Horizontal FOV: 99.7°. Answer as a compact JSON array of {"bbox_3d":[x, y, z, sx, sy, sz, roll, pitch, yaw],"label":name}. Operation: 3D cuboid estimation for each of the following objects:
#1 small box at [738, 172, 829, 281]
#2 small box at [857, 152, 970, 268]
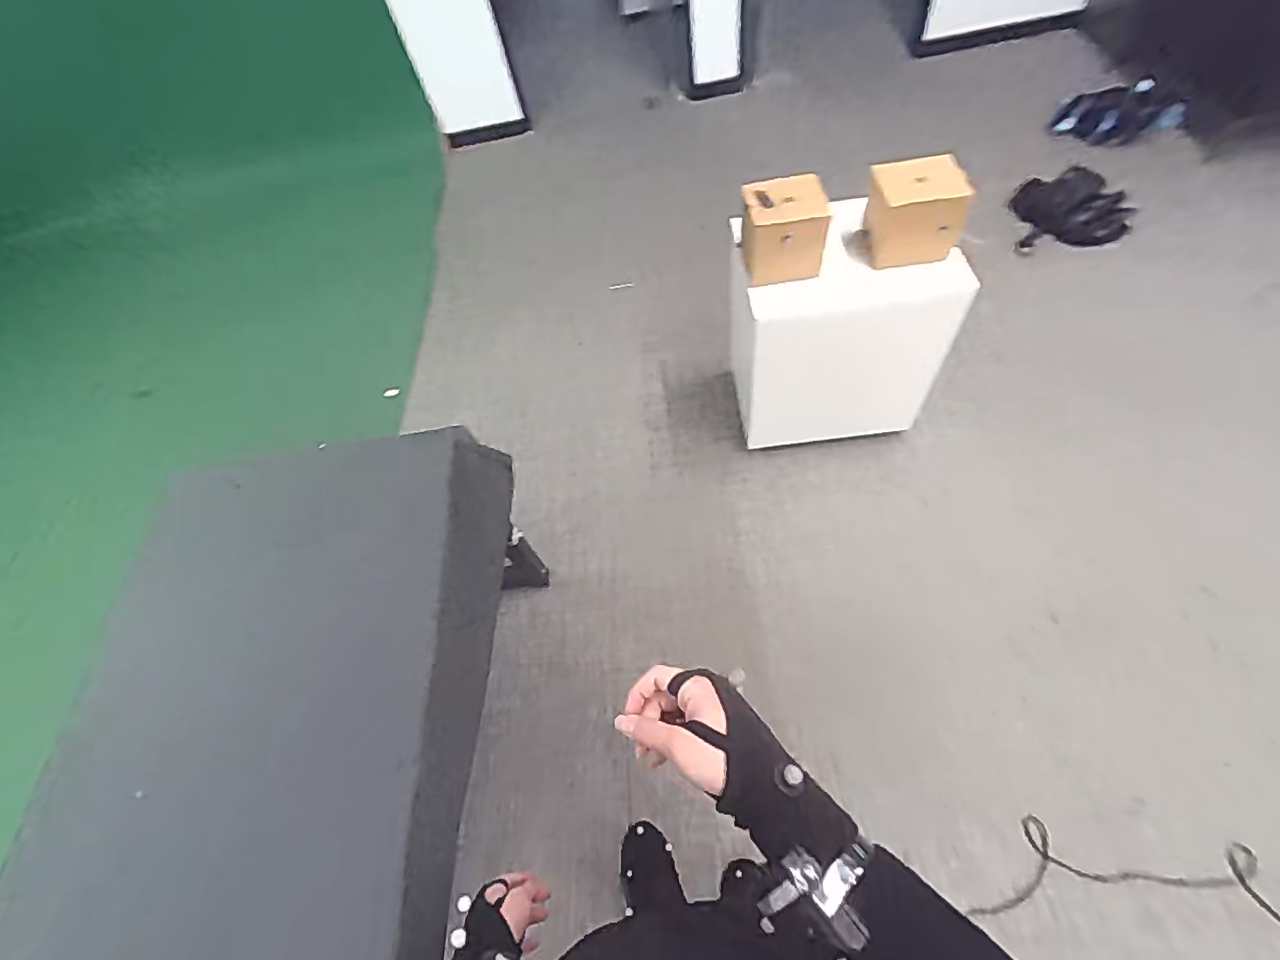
[{"bbox_3d":[0.332,-0.599,1.292,0.179,0.176,0.168,-7,59,2],"label":"small box"},{"bbox_3d":[0.628,-0.626,1.265,0.179,0.176,0.168,-7,58,7],"label":"small box"}]
